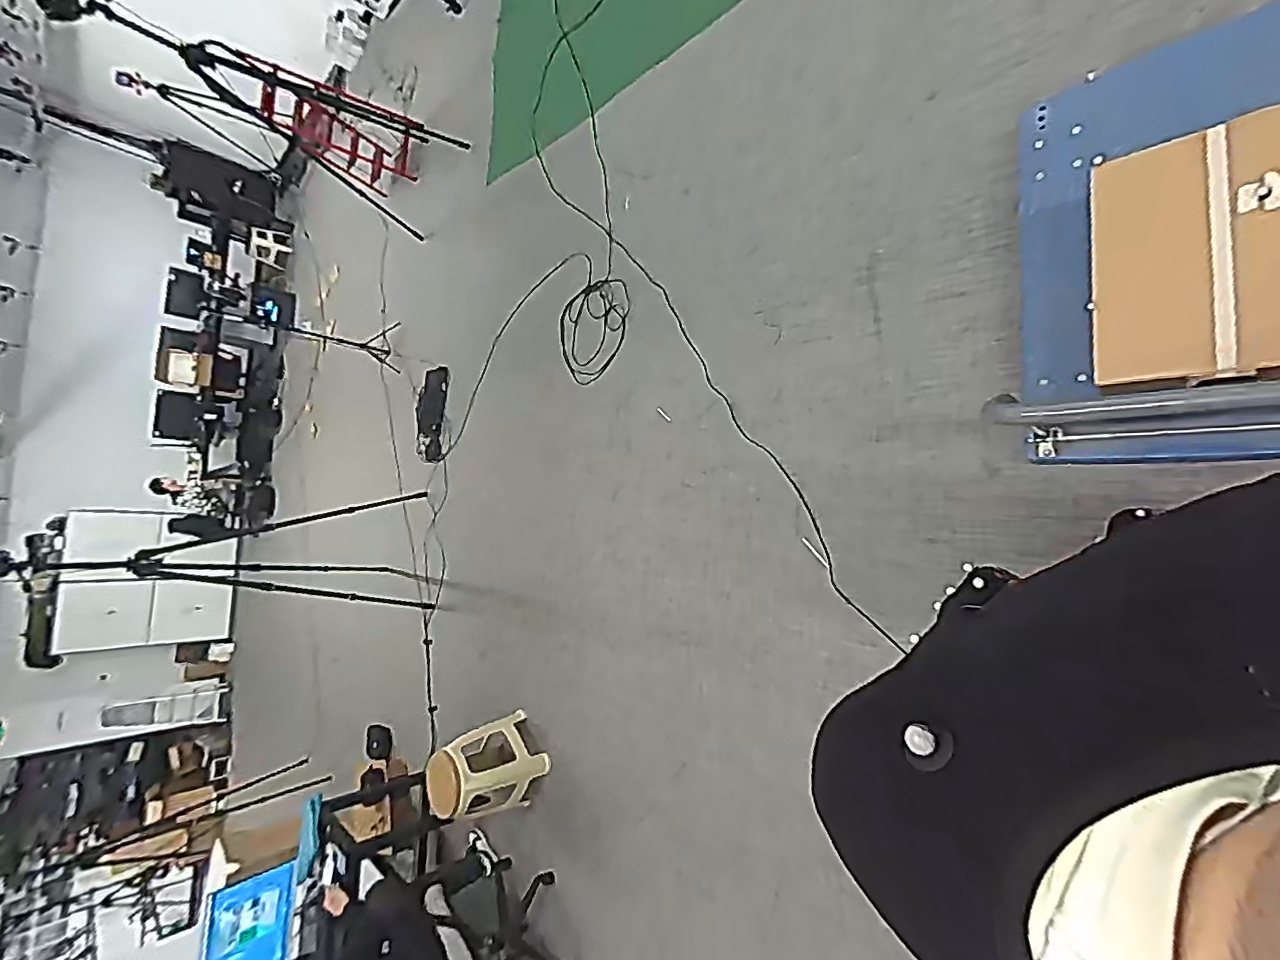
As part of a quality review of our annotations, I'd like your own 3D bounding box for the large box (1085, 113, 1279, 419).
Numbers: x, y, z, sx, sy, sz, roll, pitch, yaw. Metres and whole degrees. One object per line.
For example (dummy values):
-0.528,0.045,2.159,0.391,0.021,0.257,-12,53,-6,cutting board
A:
1.023,-0.347,0.969,0.320,0.320,0.408,-3,82,43,large box
